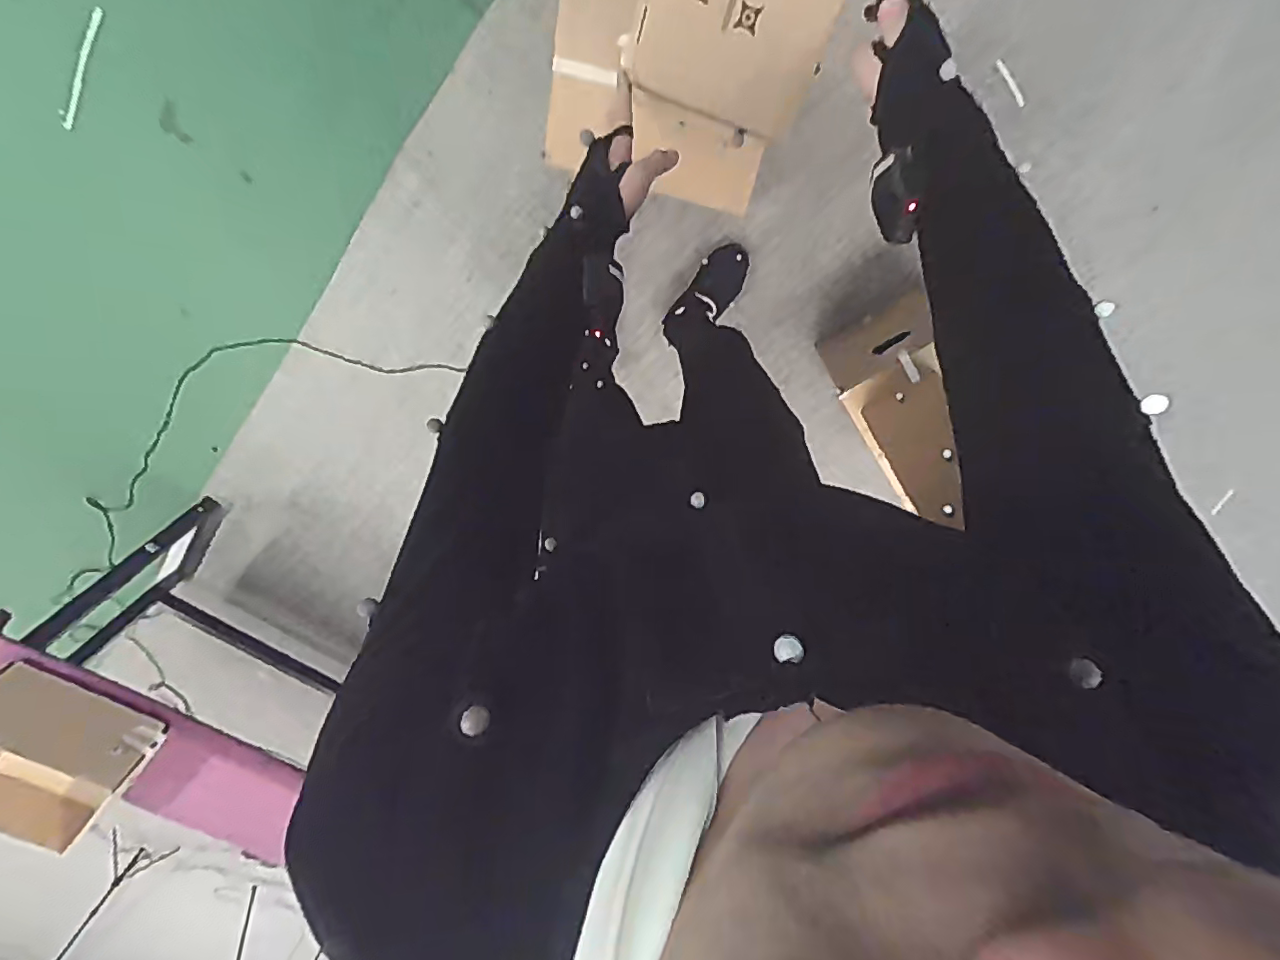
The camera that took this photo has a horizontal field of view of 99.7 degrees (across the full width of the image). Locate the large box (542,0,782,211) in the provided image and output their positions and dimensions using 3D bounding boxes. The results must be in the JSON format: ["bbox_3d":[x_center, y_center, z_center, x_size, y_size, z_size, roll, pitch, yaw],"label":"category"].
[{"bbox_3d":[0.051,-0.764,1.081,0.408,0.320,0.320,14,122,-2],"label":"large box"}]

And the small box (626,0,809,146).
[{"bbox_3d":[0.095,-0.564,0.716,0.179,0.176,0.168,19,123,-7],"label":"small box"}]

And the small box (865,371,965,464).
[{"bbox_3d":[0.609,-0.102,1.169,0.179,0.176,0.168,-32,115,25],"label":"small box"}]

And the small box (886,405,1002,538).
[{"bbox_3d":[0.596,-0.010,1.035,0.179,0.176,0.168,-34,114,24],"label":"small box"}]
